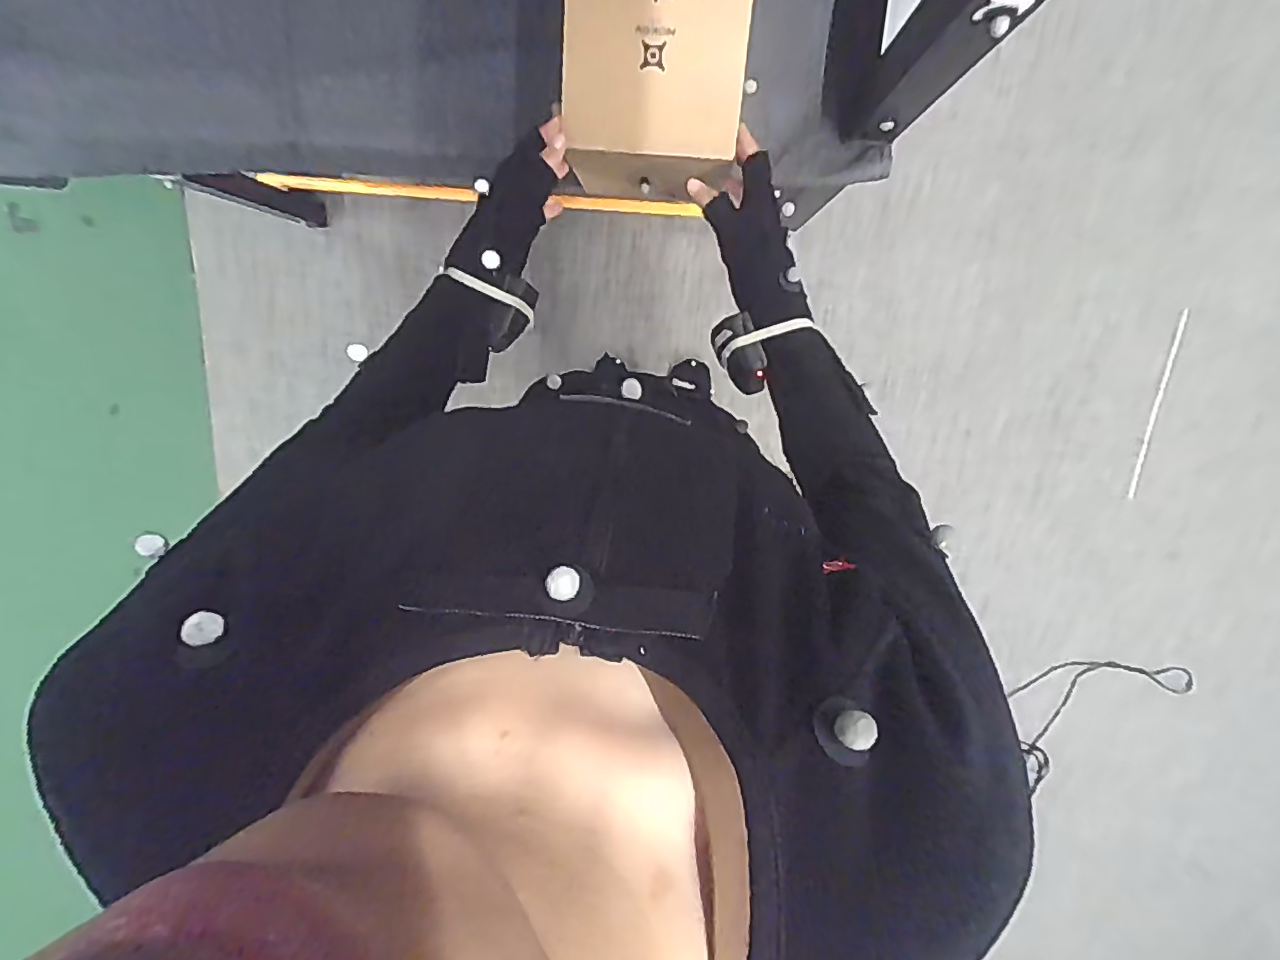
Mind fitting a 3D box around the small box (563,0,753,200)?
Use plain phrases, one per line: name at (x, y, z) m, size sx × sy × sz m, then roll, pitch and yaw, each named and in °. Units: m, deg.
small box at (0.019, -0.407, 0.563) m, size 0.168 × 0.176 × 0.179 m, roll 5°, pitch 105°, yaw 1°
